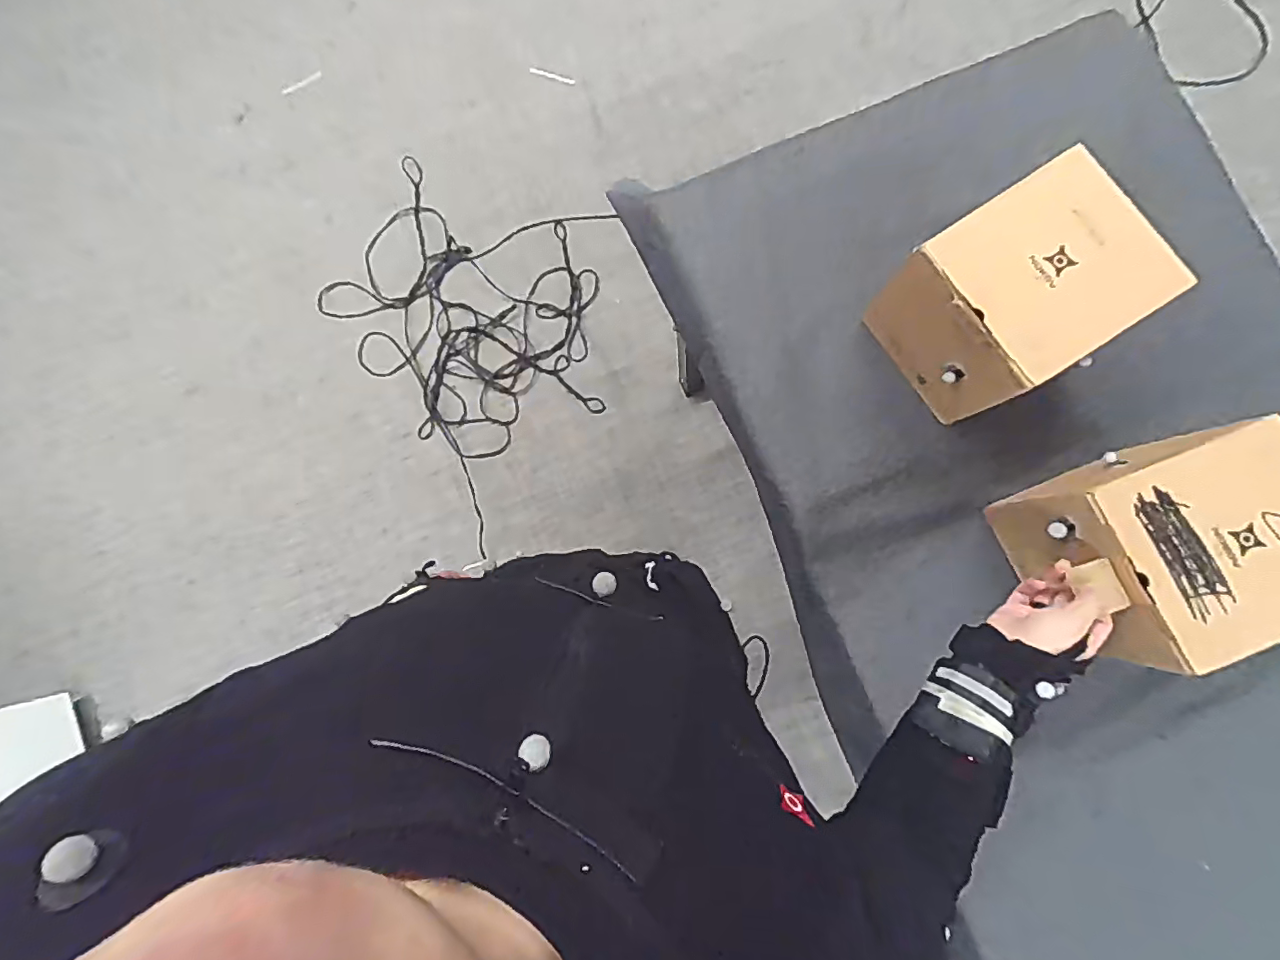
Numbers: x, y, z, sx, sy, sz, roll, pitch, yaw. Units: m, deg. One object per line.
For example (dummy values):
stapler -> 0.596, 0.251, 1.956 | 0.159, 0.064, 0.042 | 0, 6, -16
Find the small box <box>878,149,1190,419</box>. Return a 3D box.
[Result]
small box -> 0.380, -0.185, 0.569 | 0.179, 0.176, 0.168 | -33, 84, -1
